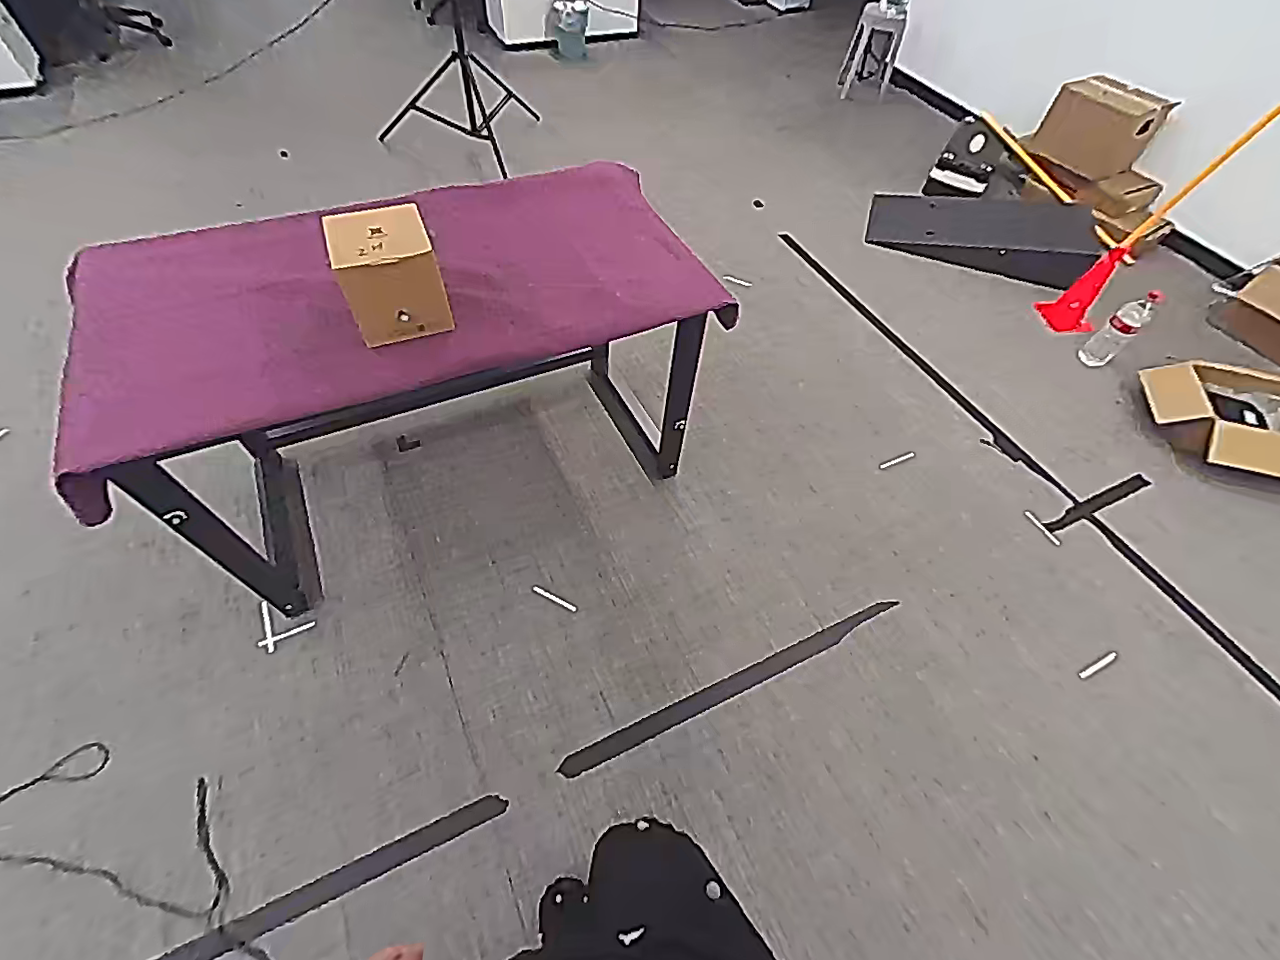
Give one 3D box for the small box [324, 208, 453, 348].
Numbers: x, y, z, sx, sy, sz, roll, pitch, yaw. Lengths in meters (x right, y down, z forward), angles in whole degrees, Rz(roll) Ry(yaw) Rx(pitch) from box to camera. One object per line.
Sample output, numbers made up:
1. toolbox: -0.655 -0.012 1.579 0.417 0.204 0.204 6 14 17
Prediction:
1. small box: -0.469 -0.380 1.020 0.168 0.176 0.179 -19 58 -16
